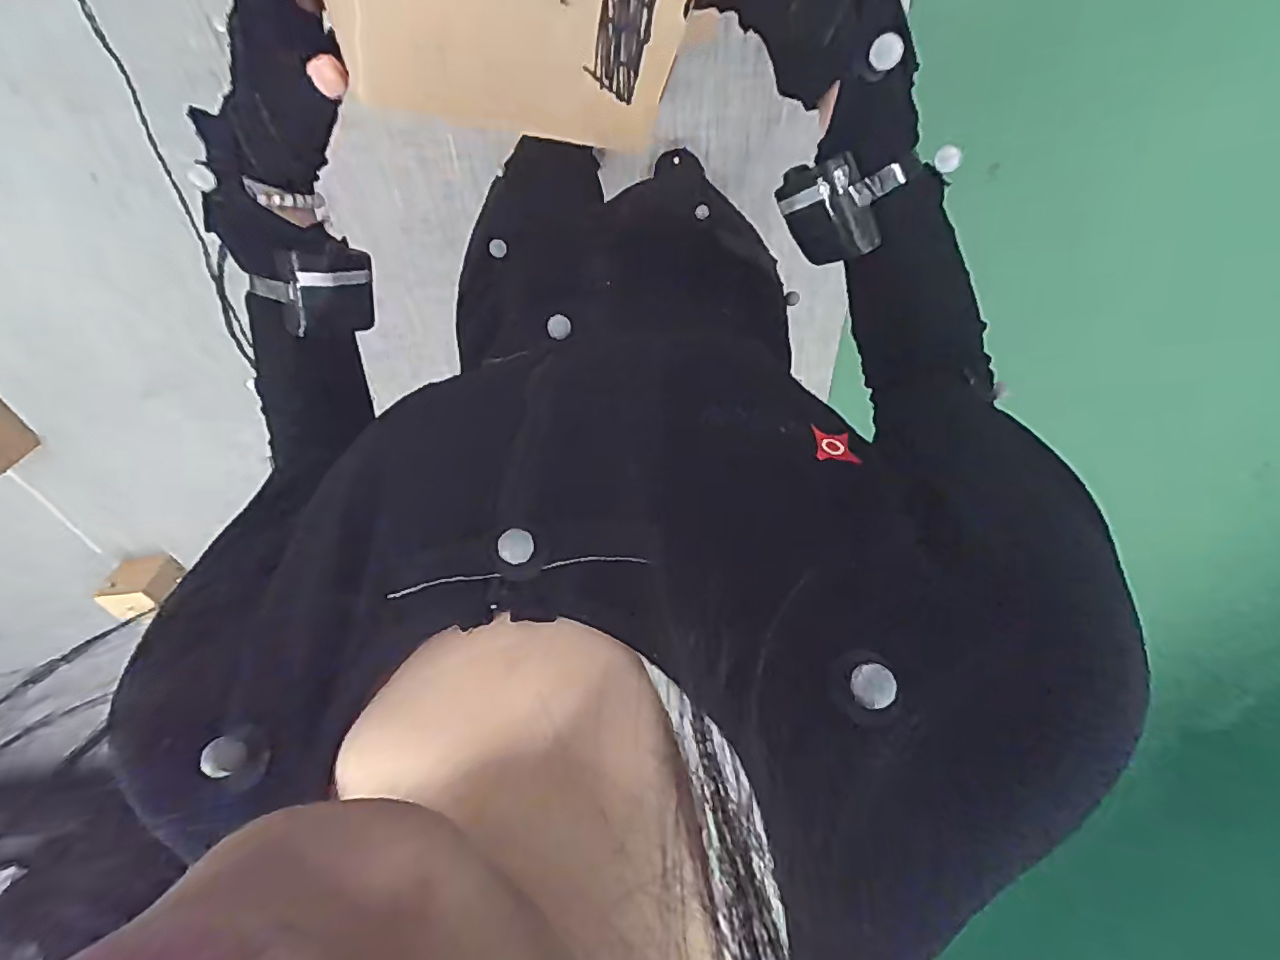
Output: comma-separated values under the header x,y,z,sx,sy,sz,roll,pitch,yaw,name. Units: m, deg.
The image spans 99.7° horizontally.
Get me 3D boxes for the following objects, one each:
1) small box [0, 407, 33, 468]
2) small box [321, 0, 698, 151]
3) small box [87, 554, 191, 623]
x,y,z,sx,sy,sz,roll,pitch,yaw,name
-1.832,-0.119,1.448,0.168,0.176,0.179,-7,133,0,small box
-0.073,-0.315,0.284,0.179,0.176,0.168,-9,150,-32,small box
-1.760,0.382,1.911,0.179,0.176,0.168,-6,133,0,small box
